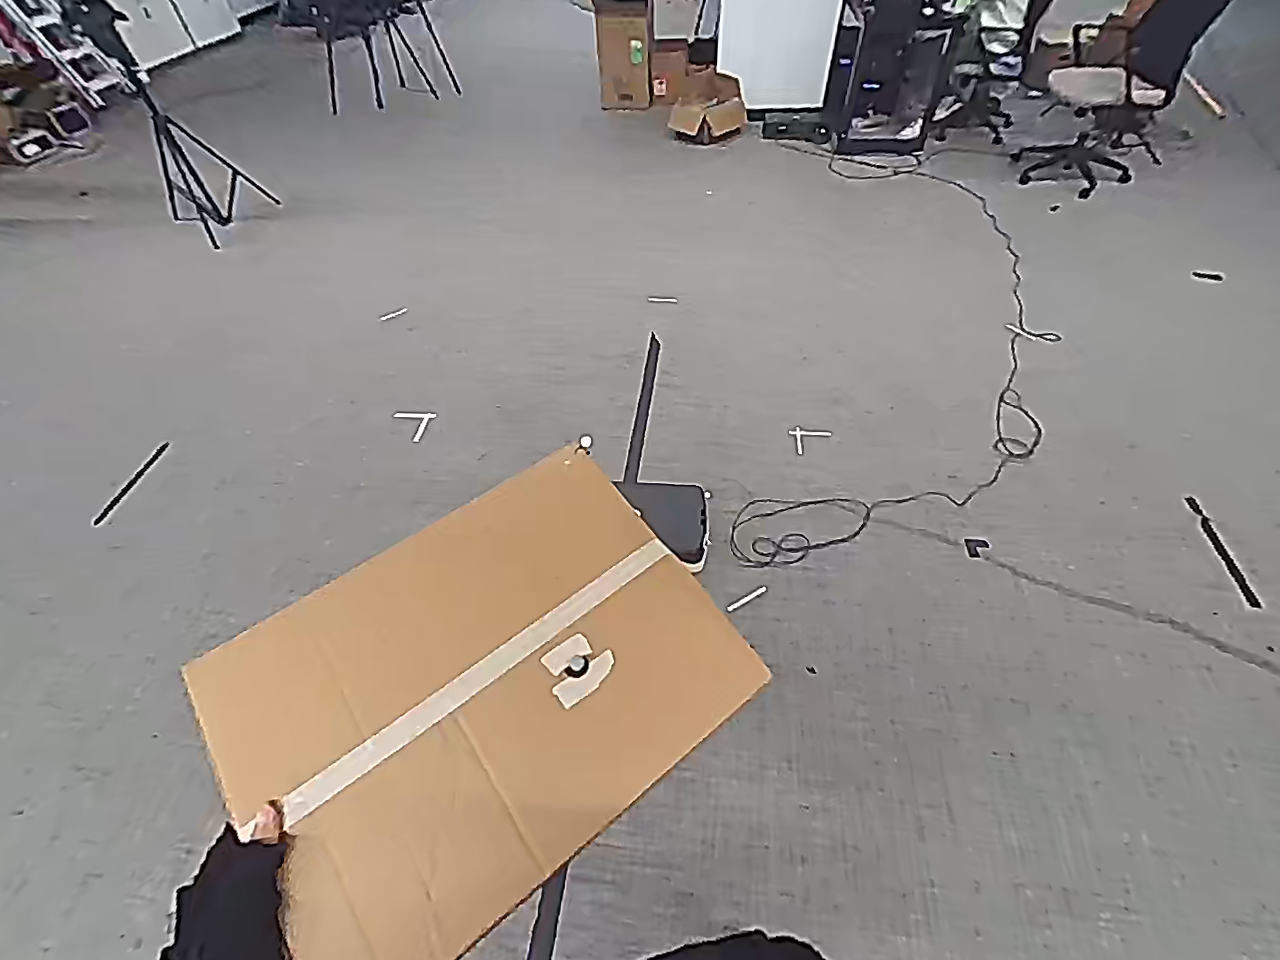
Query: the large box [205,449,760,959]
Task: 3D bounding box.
[{"bbox_3d":[-0.143,0.245,0.610,0.408,0.320,0.320,-32,68,-21],"label":"large box"}]
